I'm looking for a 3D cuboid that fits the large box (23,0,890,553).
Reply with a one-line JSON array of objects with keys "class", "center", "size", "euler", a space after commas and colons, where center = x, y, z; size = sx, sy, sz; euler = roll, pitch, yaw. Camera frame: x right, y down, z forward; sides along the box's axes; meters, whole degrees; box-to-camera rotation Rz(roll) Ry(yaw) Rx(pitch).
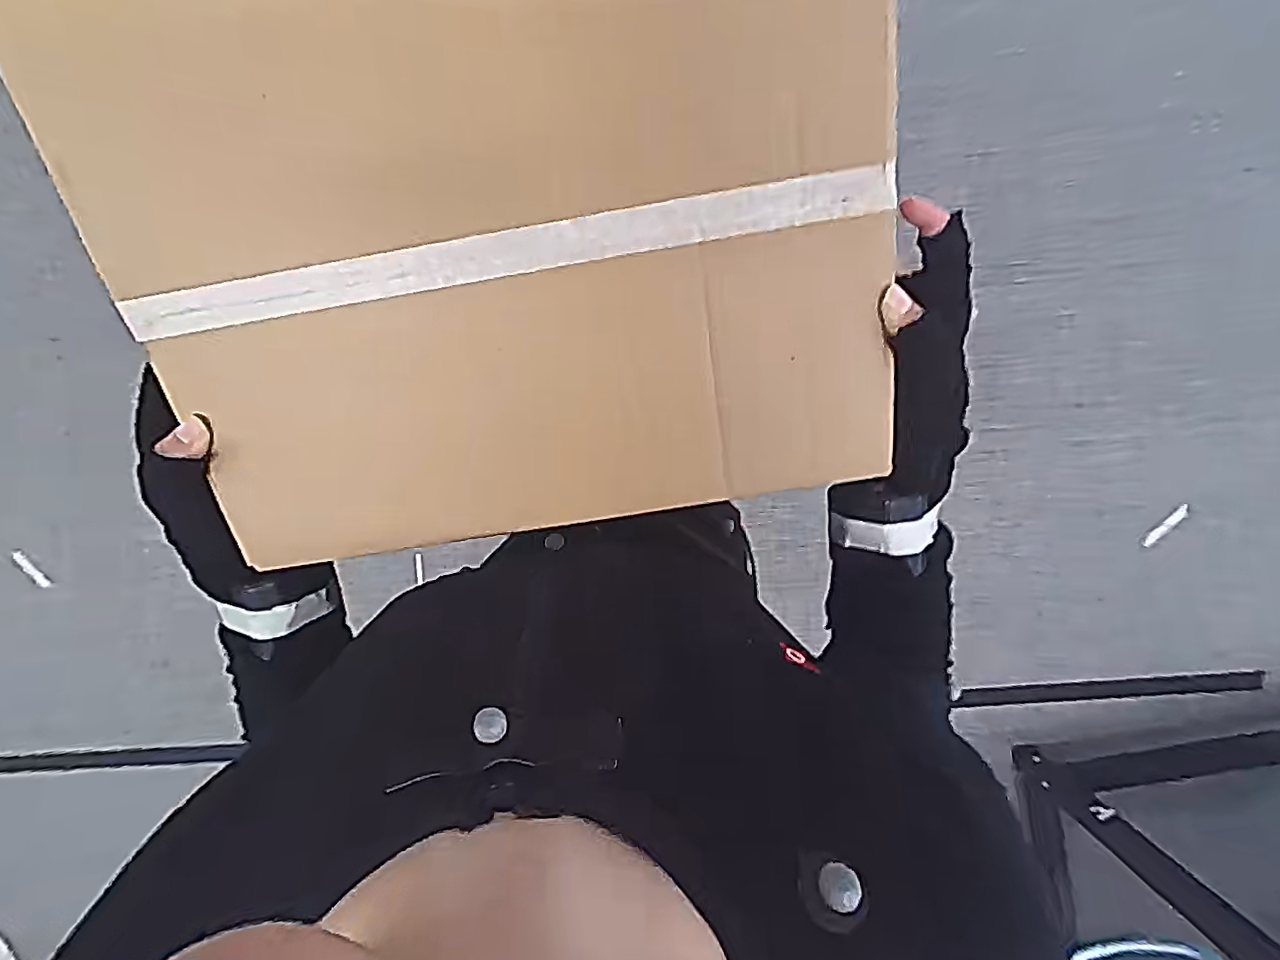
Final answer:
[{"class": "large box", "center": [-0.071, -0.175, 0.429], "size": [0.408, 0.320, 0.320], "euler": [-8, 112, 2]}]
